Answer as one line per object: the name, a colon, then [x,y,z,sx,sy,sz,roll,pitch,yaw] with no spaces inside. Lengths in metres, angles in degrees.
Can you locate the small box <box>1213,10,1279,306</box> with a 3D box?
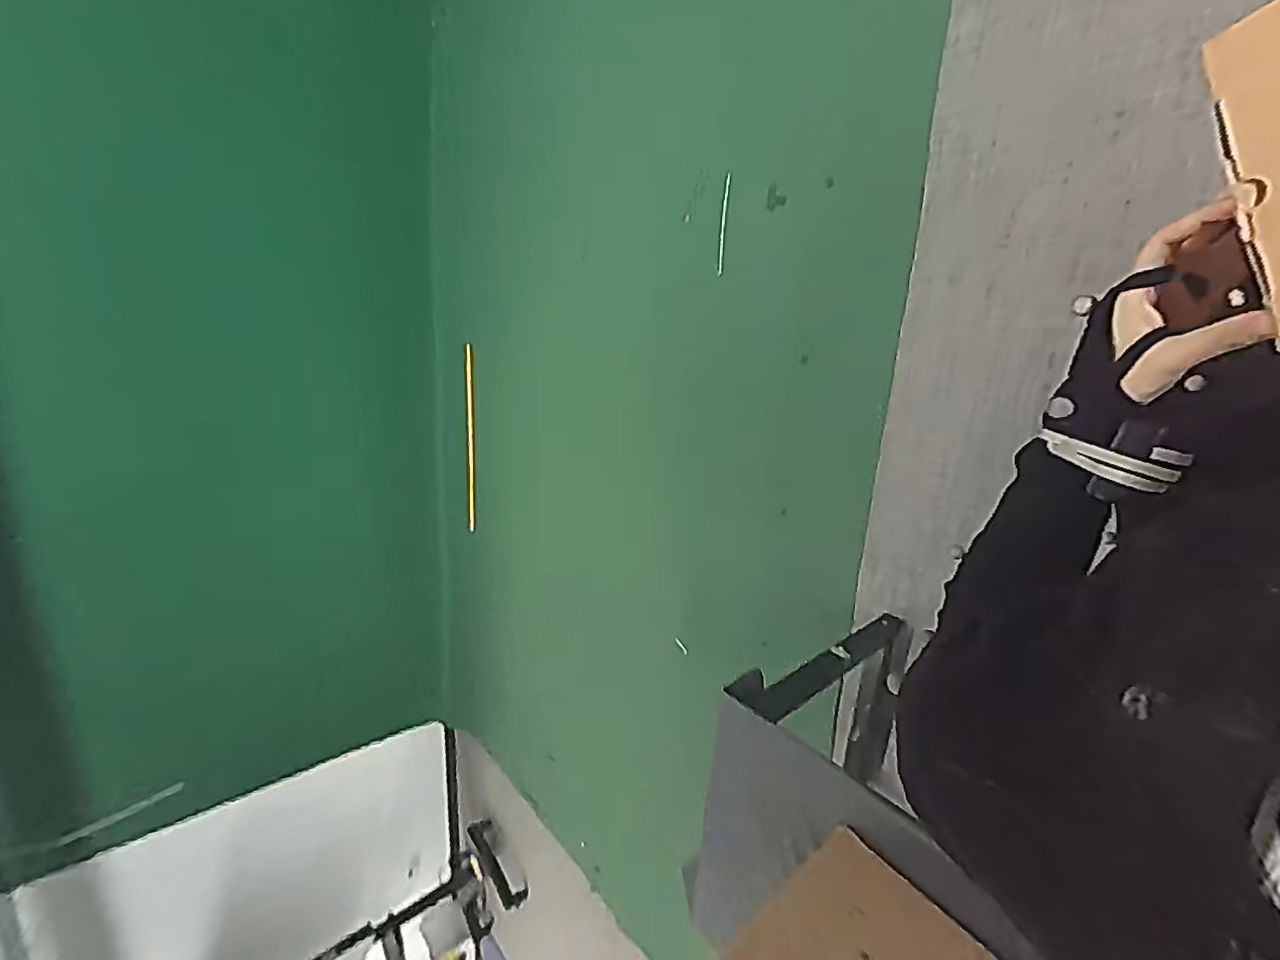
small box: [0.431,-0.177,0.254,0.179,0.176,0.168,-17,88,59]
